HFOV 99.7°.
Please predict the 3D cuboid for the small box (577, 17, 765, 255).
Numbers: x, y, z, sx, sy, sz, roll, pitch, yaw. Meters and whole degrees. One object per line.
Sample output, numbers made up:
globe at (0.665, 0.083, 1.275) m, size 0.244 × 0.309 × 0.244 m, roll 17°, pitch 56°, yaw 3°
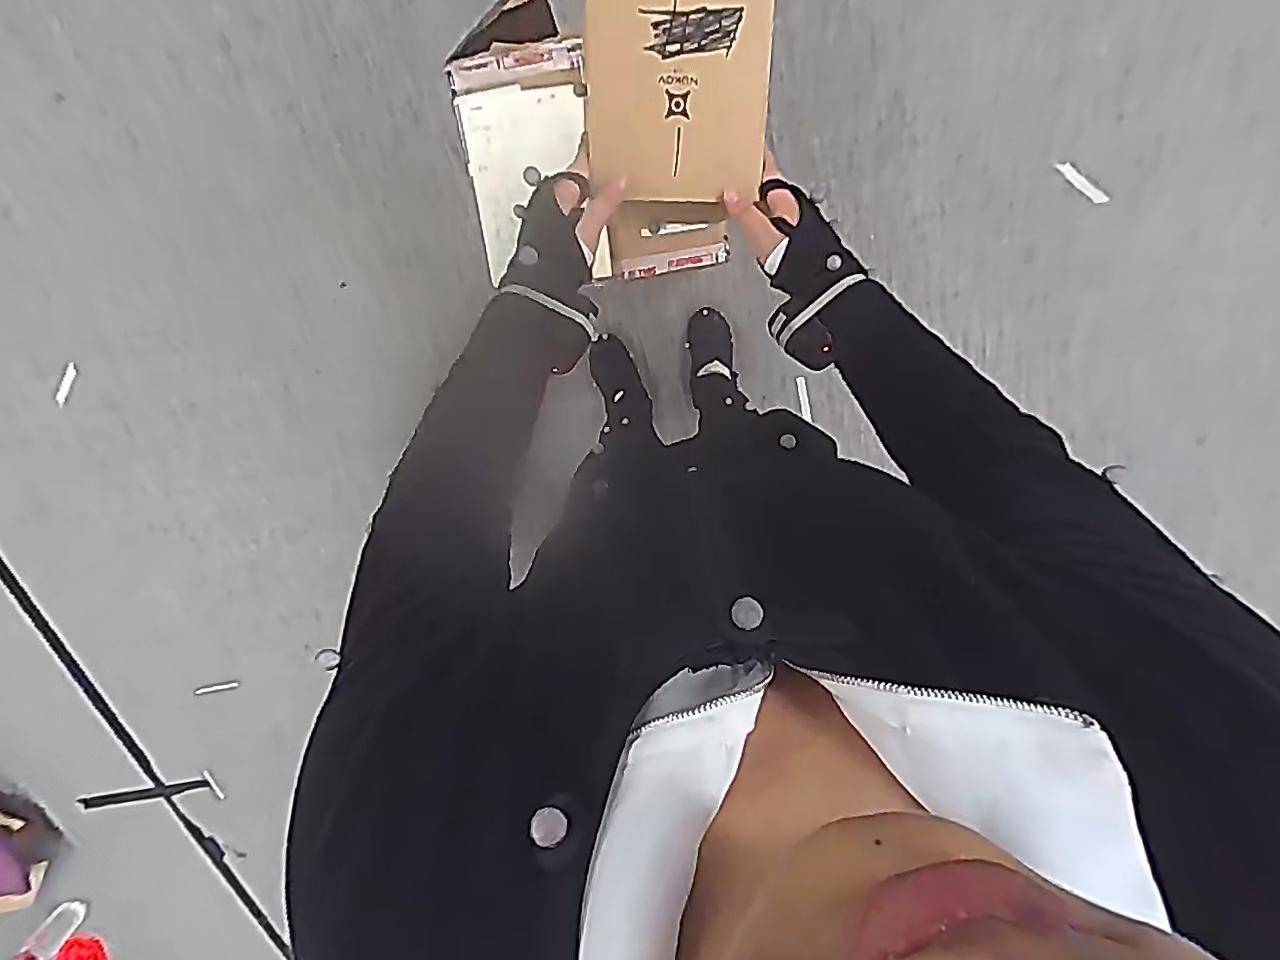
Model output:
small box at (0.019, -0.339, 0.571) m, size 0.168 × 0.176 × 0.179 m, roll -2°, pitch 110°, yaw -7°
